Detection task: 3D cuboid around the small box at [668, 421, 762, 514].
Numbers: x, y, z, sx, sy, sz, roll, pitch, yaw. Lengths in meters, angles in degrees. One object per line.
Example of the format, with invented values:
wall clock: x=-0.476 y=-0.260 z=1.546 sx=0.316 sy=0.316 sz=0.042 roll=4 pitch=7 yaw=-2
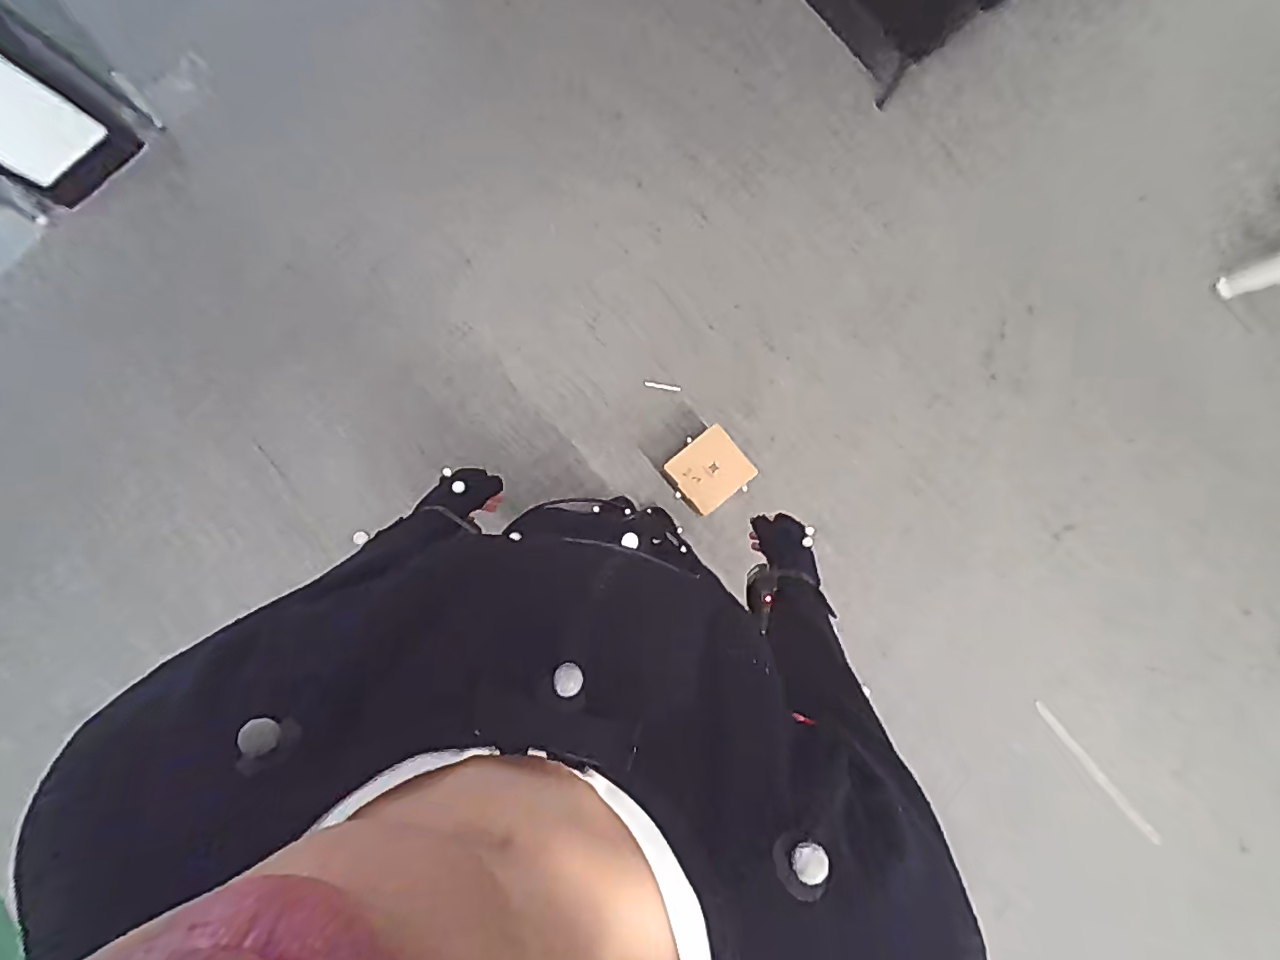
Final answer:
small box: x=0.185 y=-0.029 z=1.404 sx=0.179 sy=0.176 sz=0.168 roll=-39 pitch=88 yaw=0
